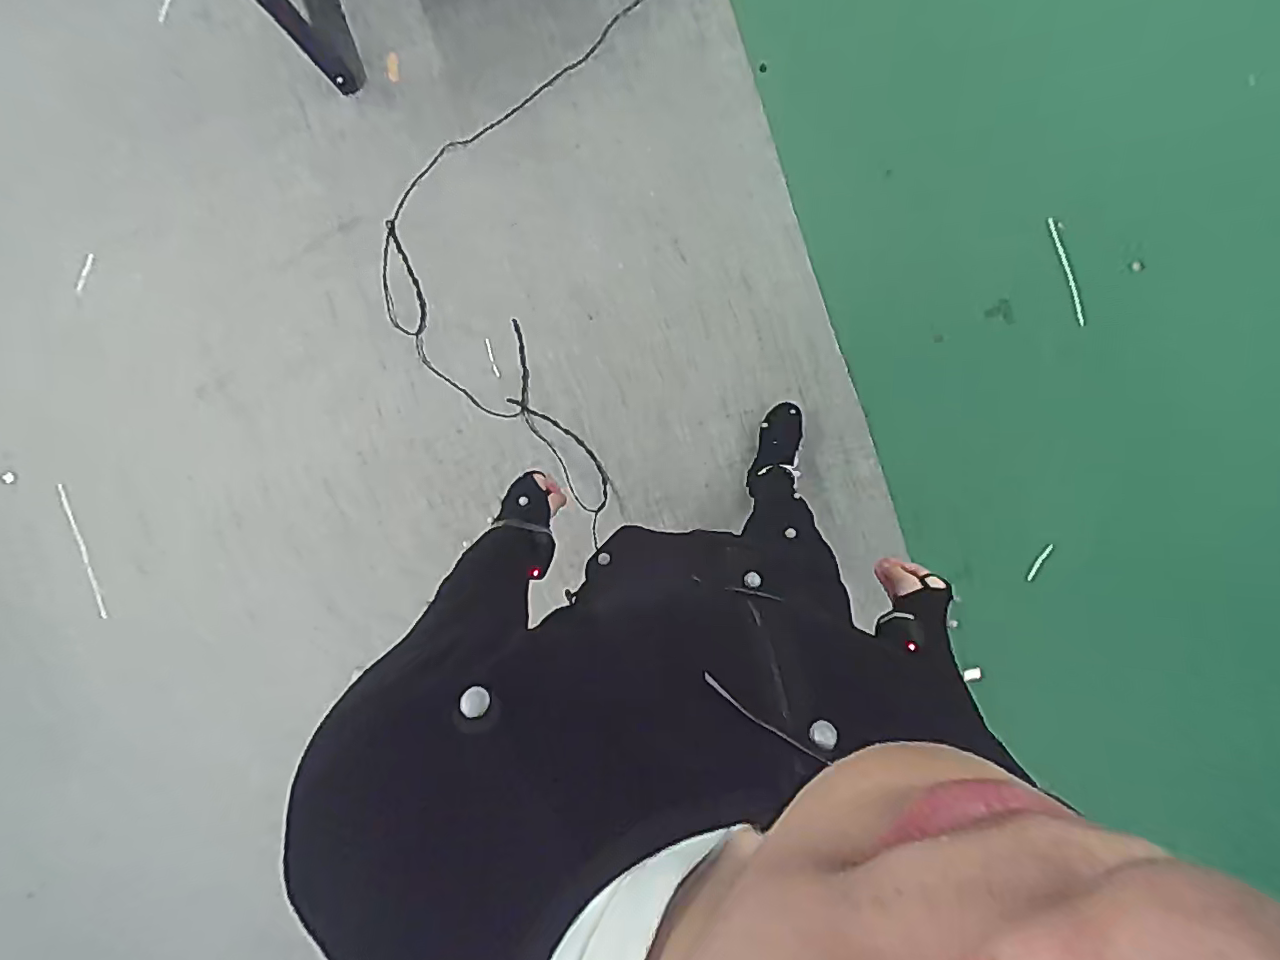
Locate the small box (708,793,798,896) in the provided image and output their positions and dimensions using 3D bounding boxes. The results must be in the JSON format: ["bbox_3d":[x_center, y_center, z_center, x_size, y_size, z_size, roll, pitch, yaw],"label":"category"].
[{"bbox_3d":[0.276,0.926,1.364,0.168,0.176,0.179,-20,90,5],"label":"small box"}]

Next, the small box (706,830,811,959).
[{"bbox_3d":[0.253,0.920,1.200,0.179,0.176,0.168,-19,89,5],"label":"small box"}]
